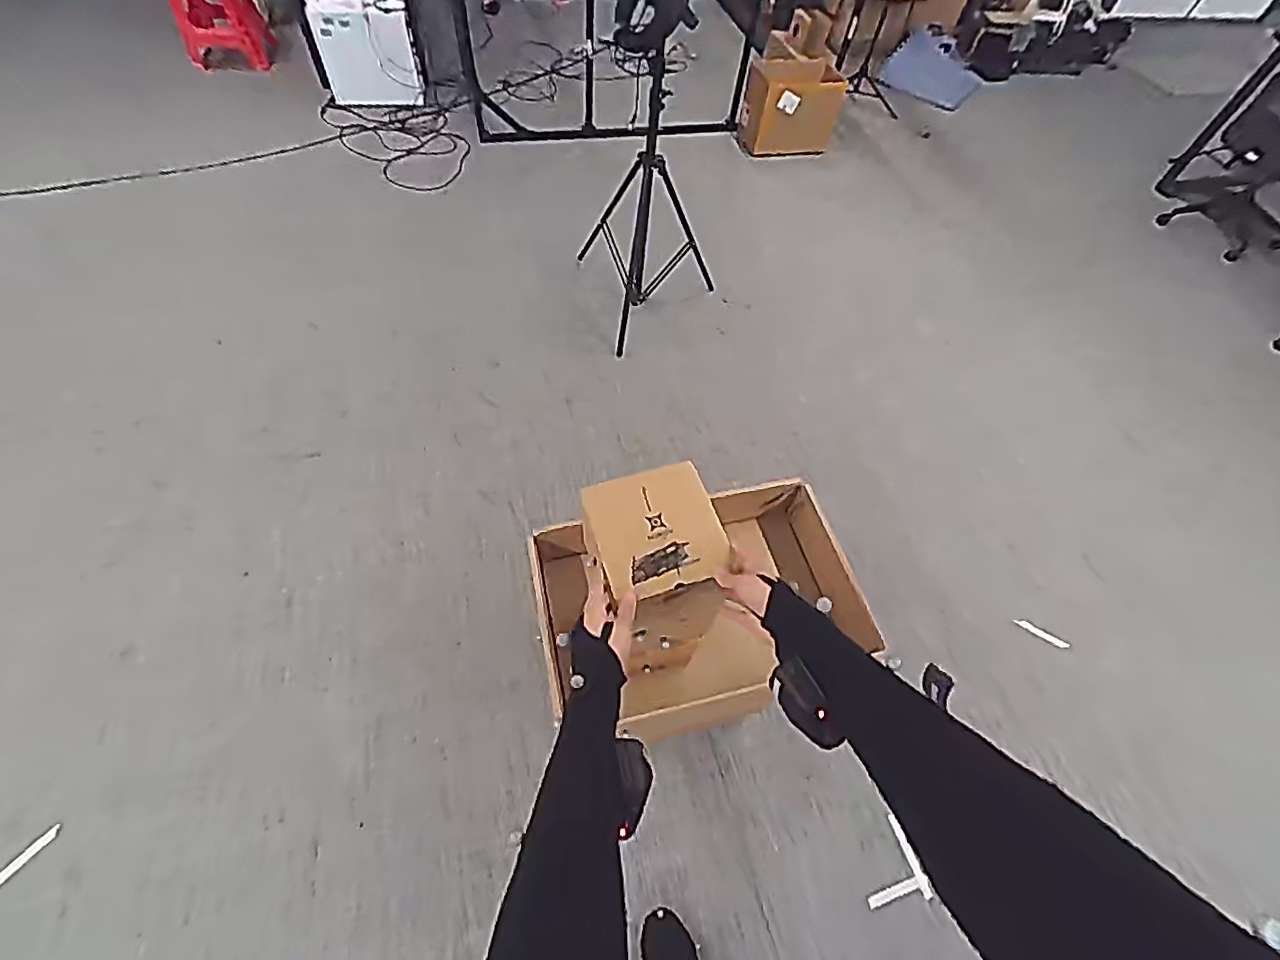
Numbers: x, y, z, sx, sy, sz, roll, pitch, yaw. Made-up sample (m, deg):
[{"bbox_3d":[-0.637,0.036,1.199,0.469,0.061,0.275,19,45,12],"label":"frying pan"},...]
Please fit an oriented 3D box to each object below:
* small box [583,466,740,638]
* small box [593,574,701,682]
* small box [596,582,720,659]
[{"bbox_3d":[0.021,0.111,0.773,0.168,0.176,0.179,-14,60,-13],"label":"small box"},{"bbox_3d":[0.004,0.273,1.058,0.168,0.176,0.179,-11,60,-11],"label":"small box"},{"bbox_3d":[0.019,0.182,0.922,0.168,0.176,0.179,-12,60,-11],"label":"small box"}]
